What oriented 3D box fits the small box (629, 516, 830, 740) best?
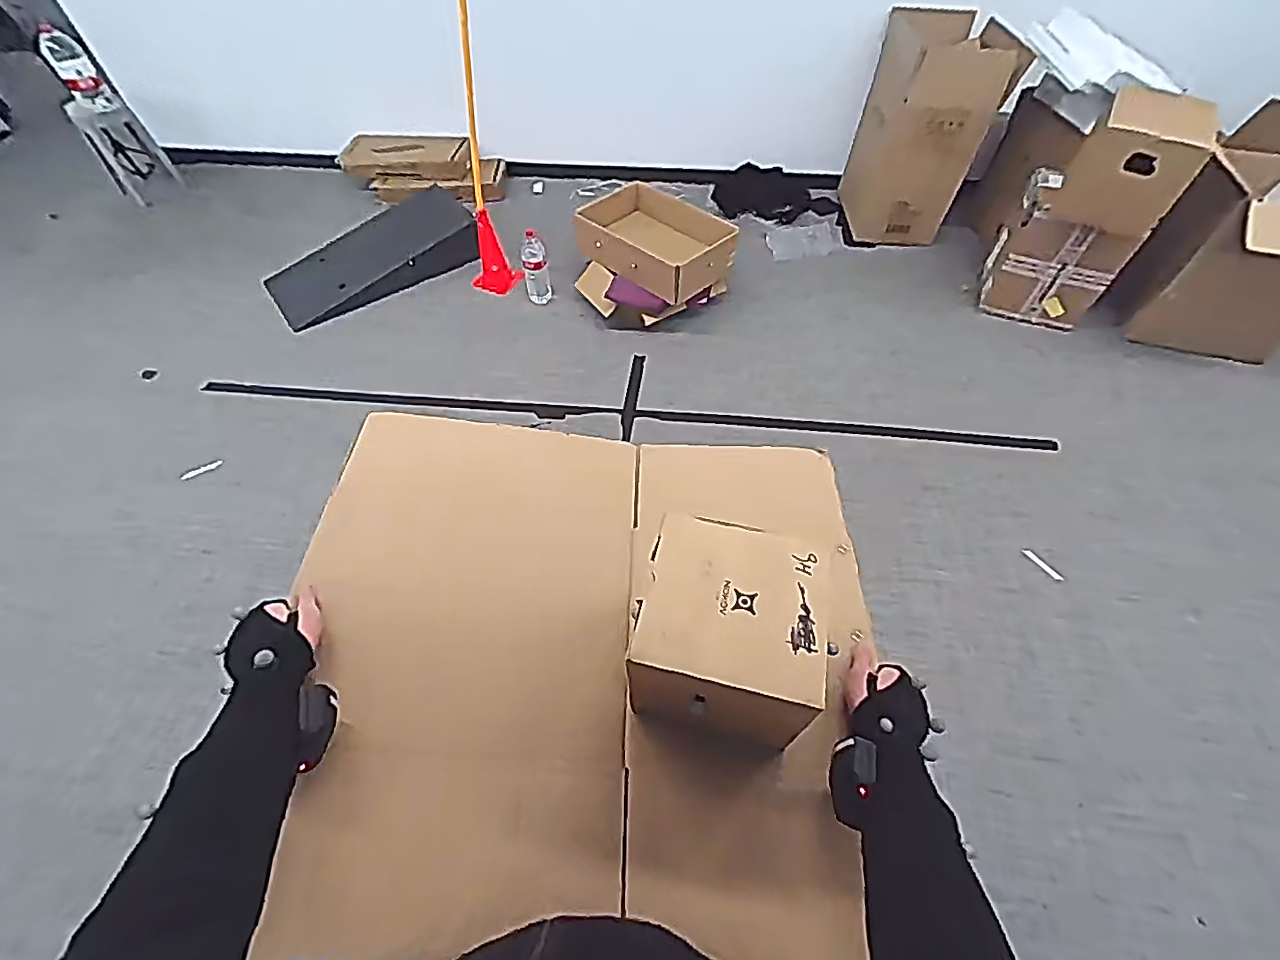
[{"bbox_3d":[0.095,0.165,0.587,0.179,0.176,0.168,10,54,10],"label":"small box"}]
